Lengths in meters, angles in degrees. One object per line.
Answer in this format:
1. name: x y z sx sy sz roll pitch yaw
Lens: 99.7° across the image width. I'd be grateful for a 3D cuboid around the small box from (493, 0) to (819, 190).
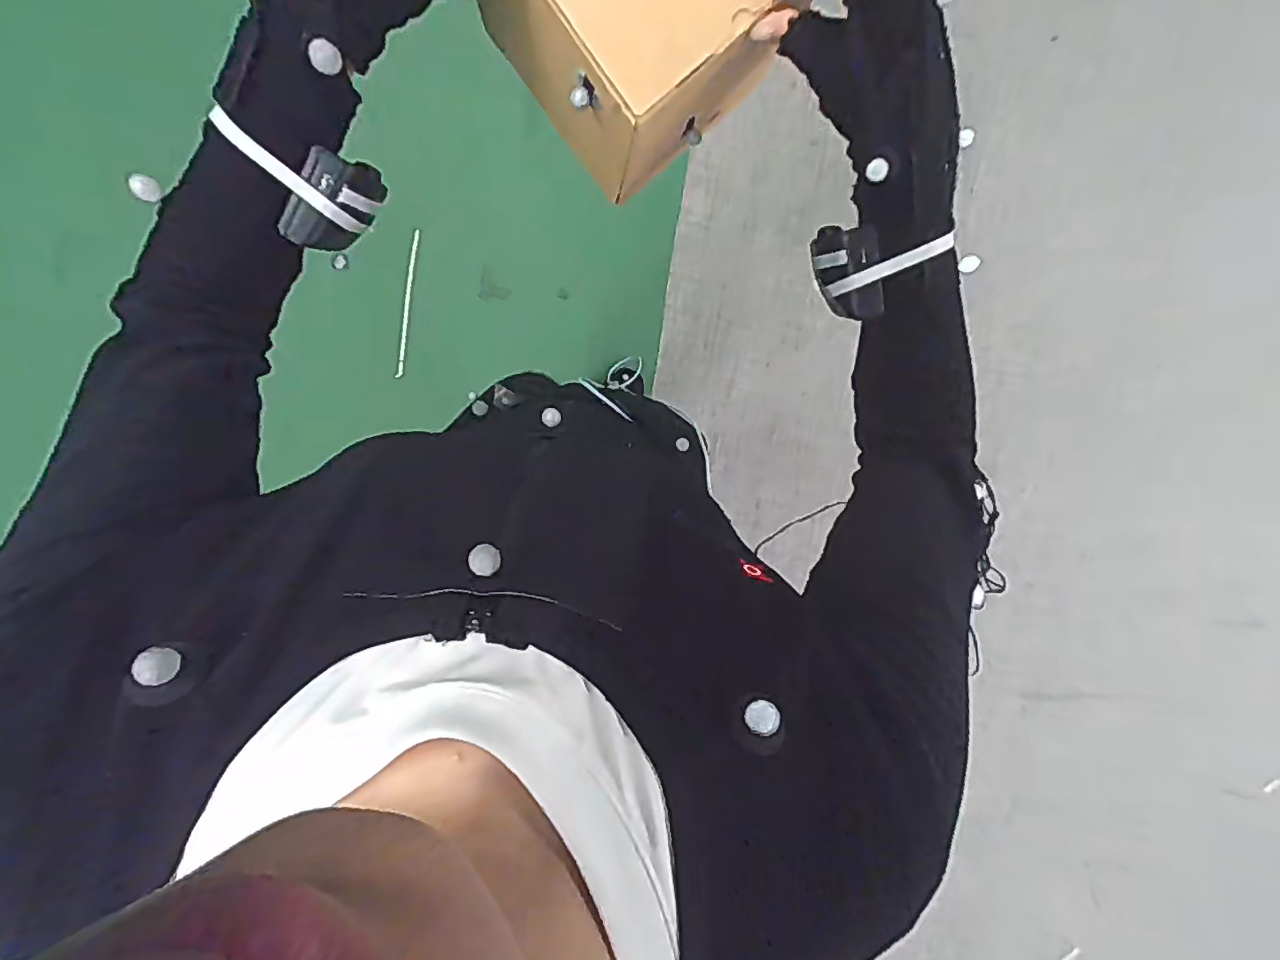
1. small box: 0.003 -0.347 0.380 0.168 0.176 0.179 -39 104 2
